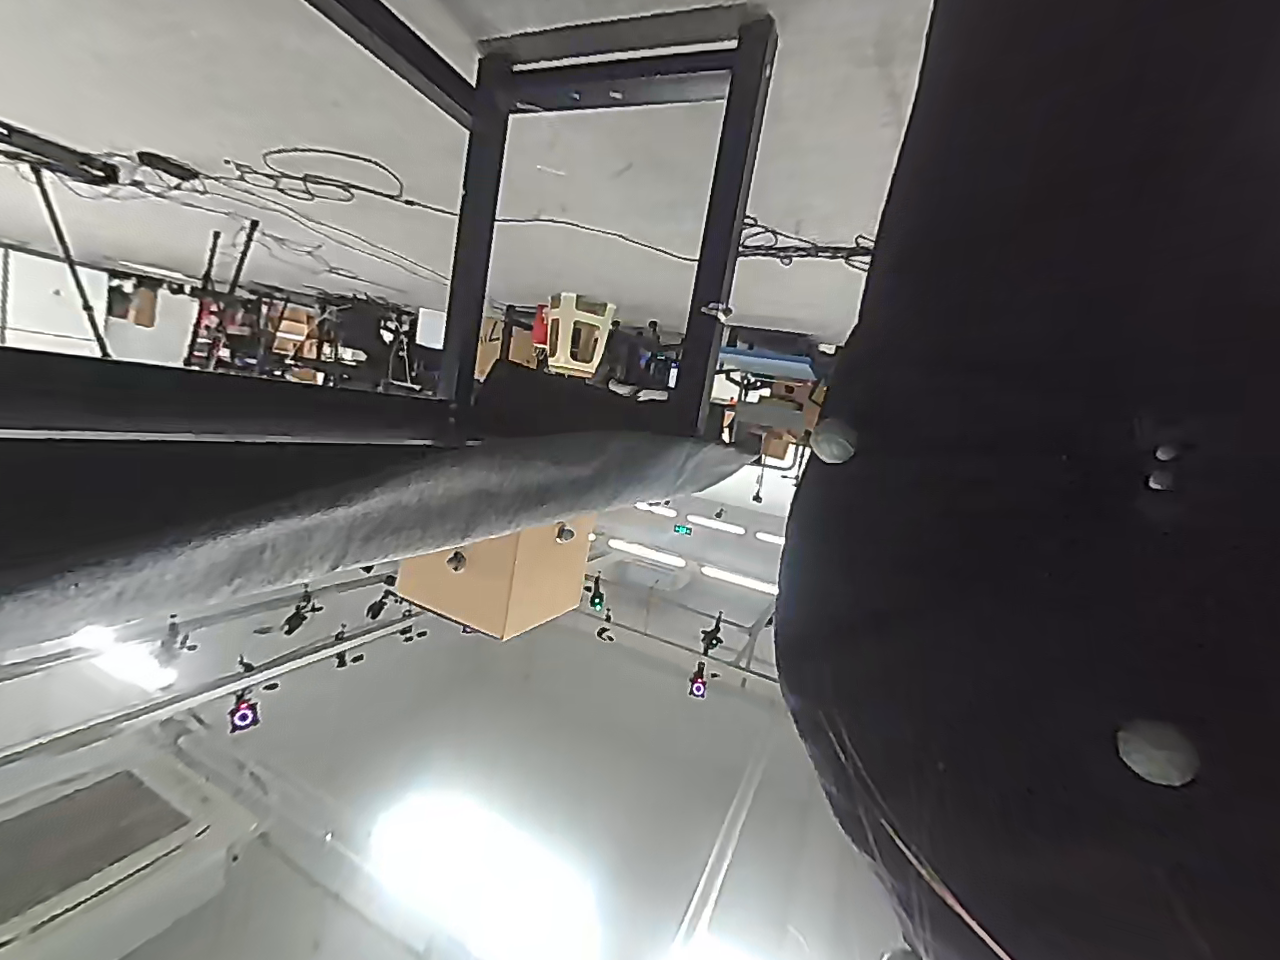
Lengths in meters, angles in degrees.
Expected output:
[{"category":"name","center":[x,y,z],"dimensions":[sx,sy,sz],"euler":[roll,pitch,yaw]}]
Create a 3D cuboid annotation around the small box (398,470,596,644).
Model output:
[{"category":"small box","center":[-0.177,0.083,0.699],"dimensions":[0.179,0.176,0.168],"euler":[13,-172,25]}]
